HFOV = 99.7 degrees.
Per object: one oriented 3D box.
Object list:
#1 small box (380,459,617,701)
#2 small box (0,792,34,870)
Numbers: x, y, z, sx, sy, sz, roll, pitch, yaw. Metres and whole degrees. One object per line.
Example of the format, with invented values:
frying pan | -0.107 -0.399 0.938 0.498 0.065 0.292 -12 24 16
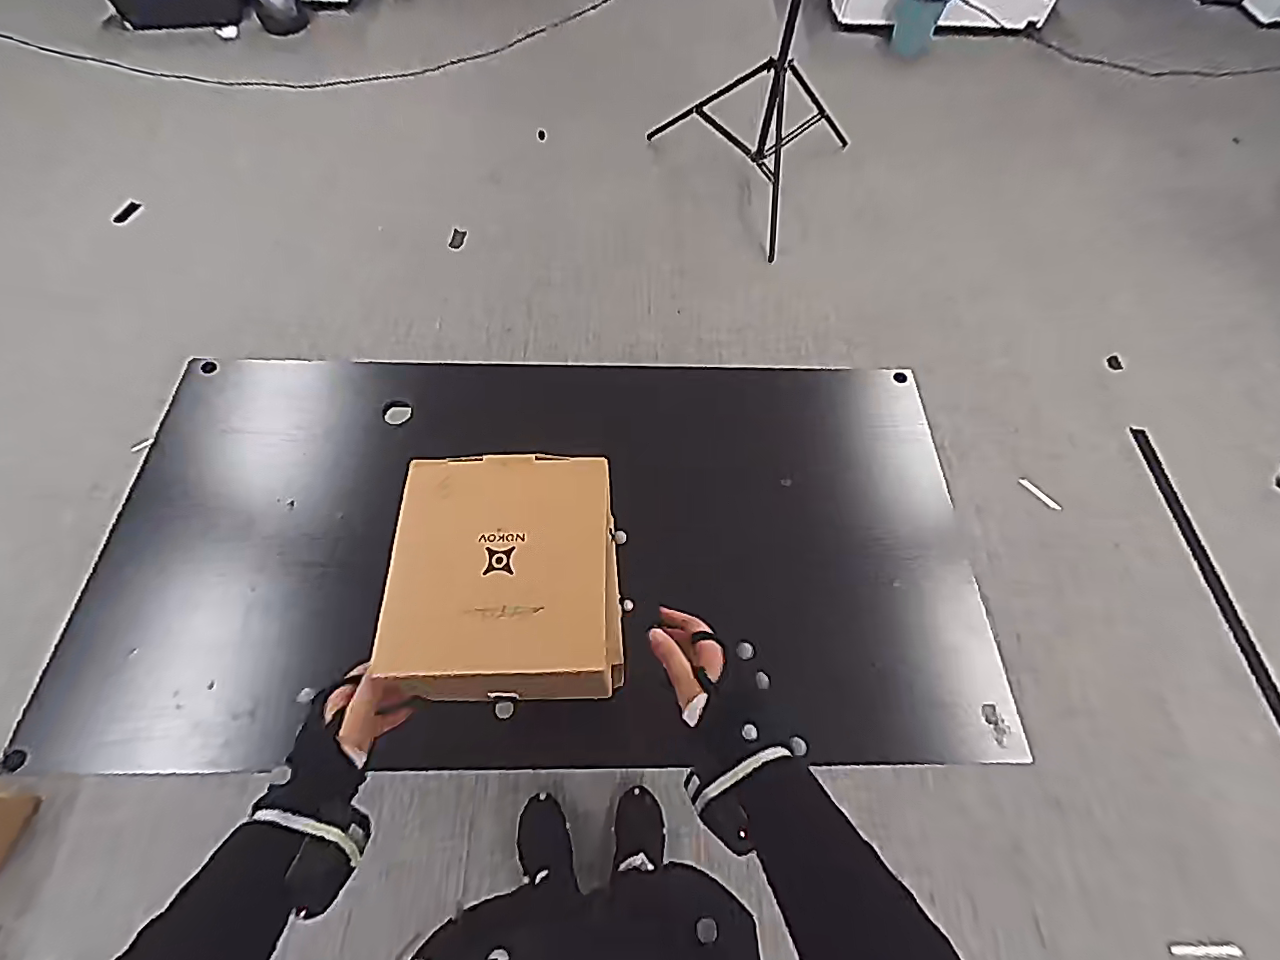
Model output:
small box | -0.107 0.097 0.491 0.168 0.176 0.179 -2 63 -2
small box | -1.429 0.738 1.106 0.168 0.176 0.179 8 63 2
